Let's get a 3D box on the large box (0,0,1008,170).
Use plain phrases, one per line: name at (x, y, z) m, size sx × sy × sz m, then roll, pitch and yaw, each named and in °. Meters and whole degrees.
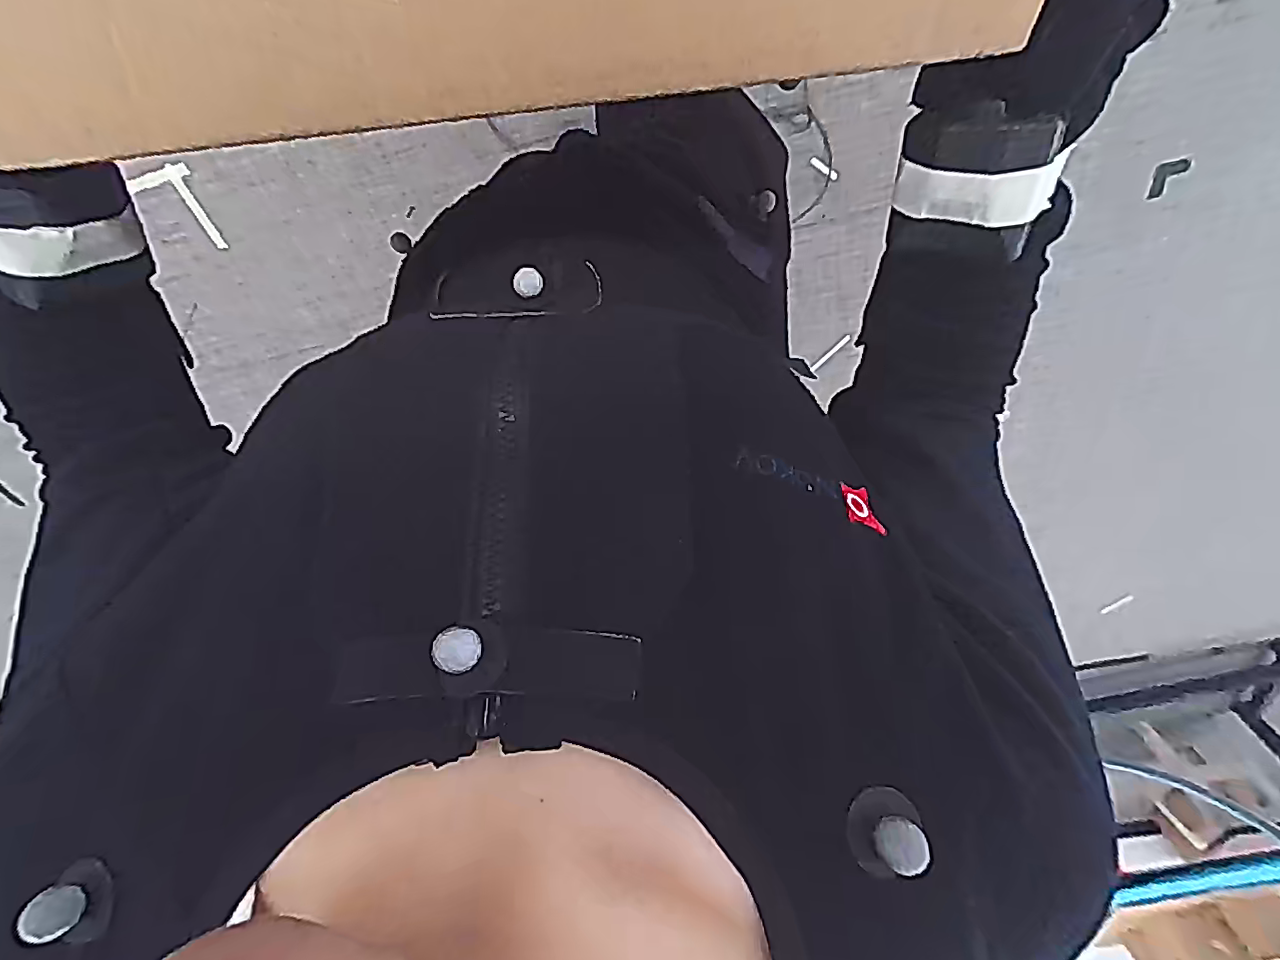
large box at (-0.081, -0.359, 0.197) m, size 0.408 × 0.320 × 0.320 m, roll -6°, pitch 138°, yaw 1°
